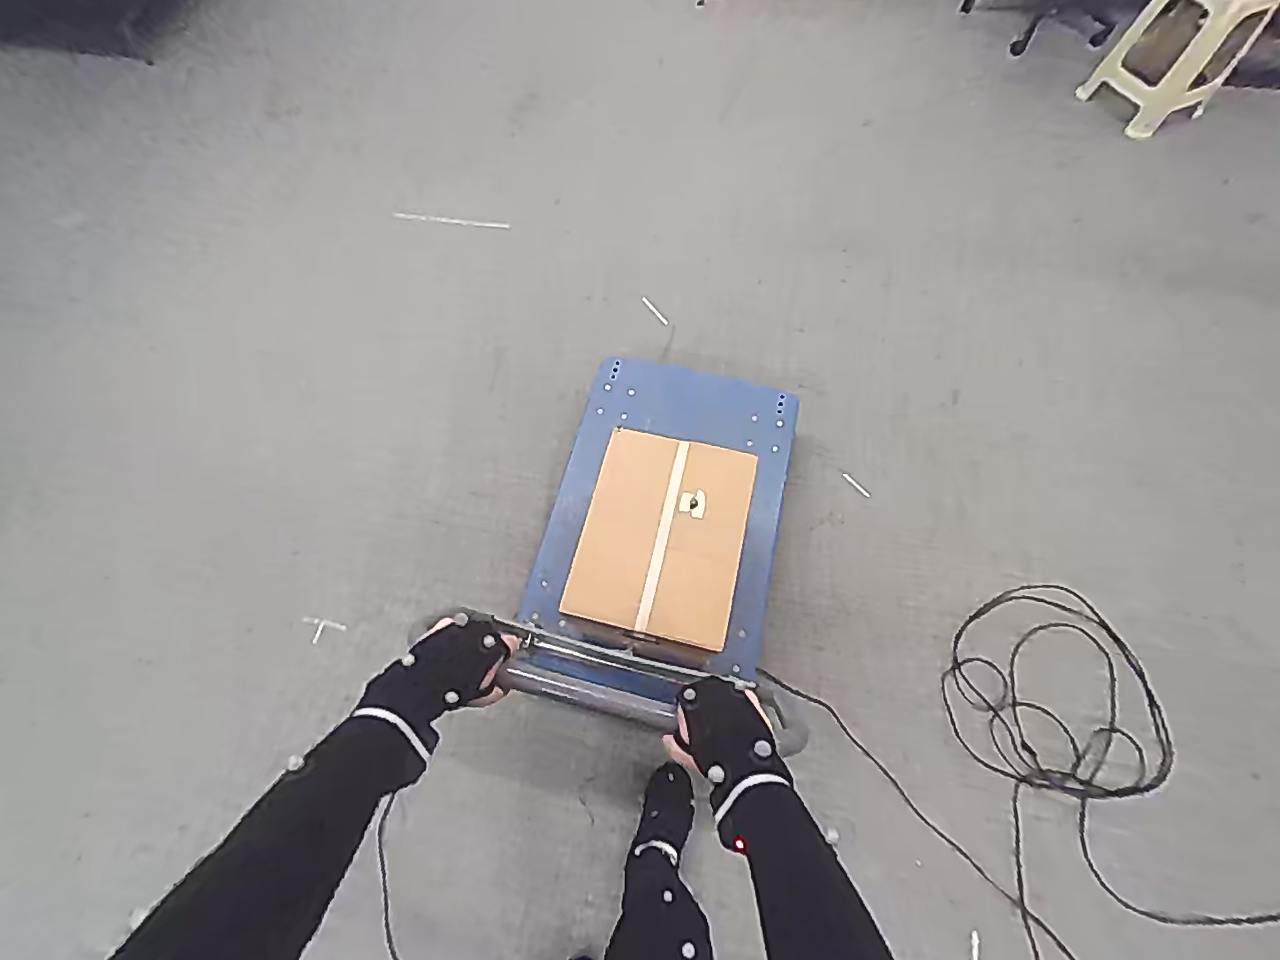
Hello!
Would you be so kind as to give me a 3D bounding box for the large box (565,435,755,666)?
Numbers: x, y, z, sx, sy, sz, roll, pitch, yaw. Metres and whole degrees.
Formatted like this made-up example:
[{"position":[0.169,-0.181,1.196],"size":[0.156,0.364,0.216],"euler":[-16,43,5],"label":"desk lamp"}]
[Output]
[{"position":[0.053,0.168,1.206],"size":[0.320,0.320,0.408],"euler":[12,67,6],"label":"large box"}]
